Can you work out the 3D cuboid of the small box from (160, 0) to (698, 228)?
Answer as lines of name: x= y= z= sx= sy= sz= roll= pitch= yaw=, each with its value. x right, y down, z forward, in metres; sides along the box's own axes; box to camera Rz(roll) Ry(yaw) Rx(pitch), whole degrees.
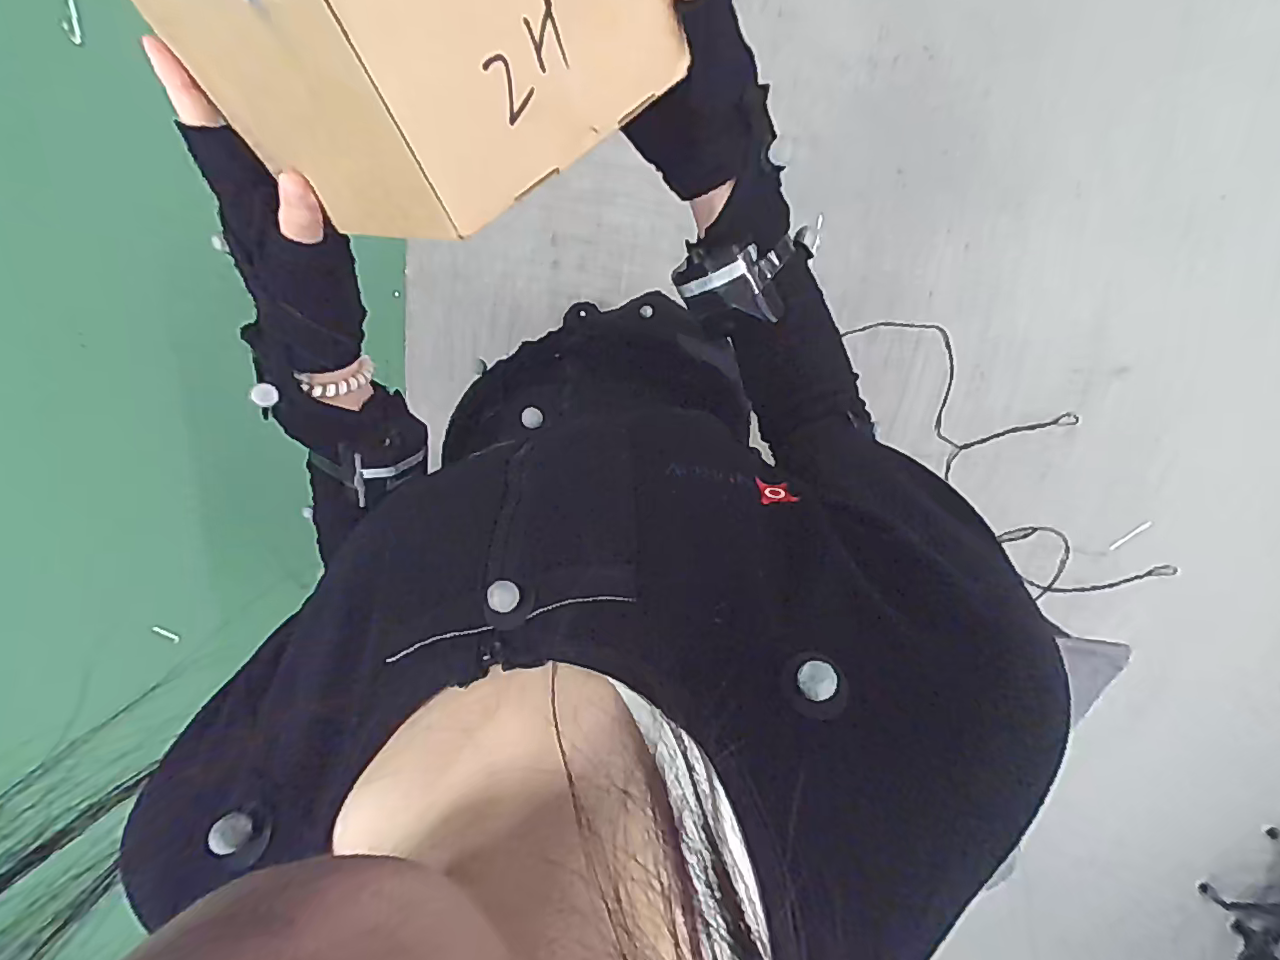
small box: x=-0.104 y=-0.233 z=0.236 sx=0.168 sy=0.176 sz=0.179 roll=-49 pitch=140 yaw=-23
